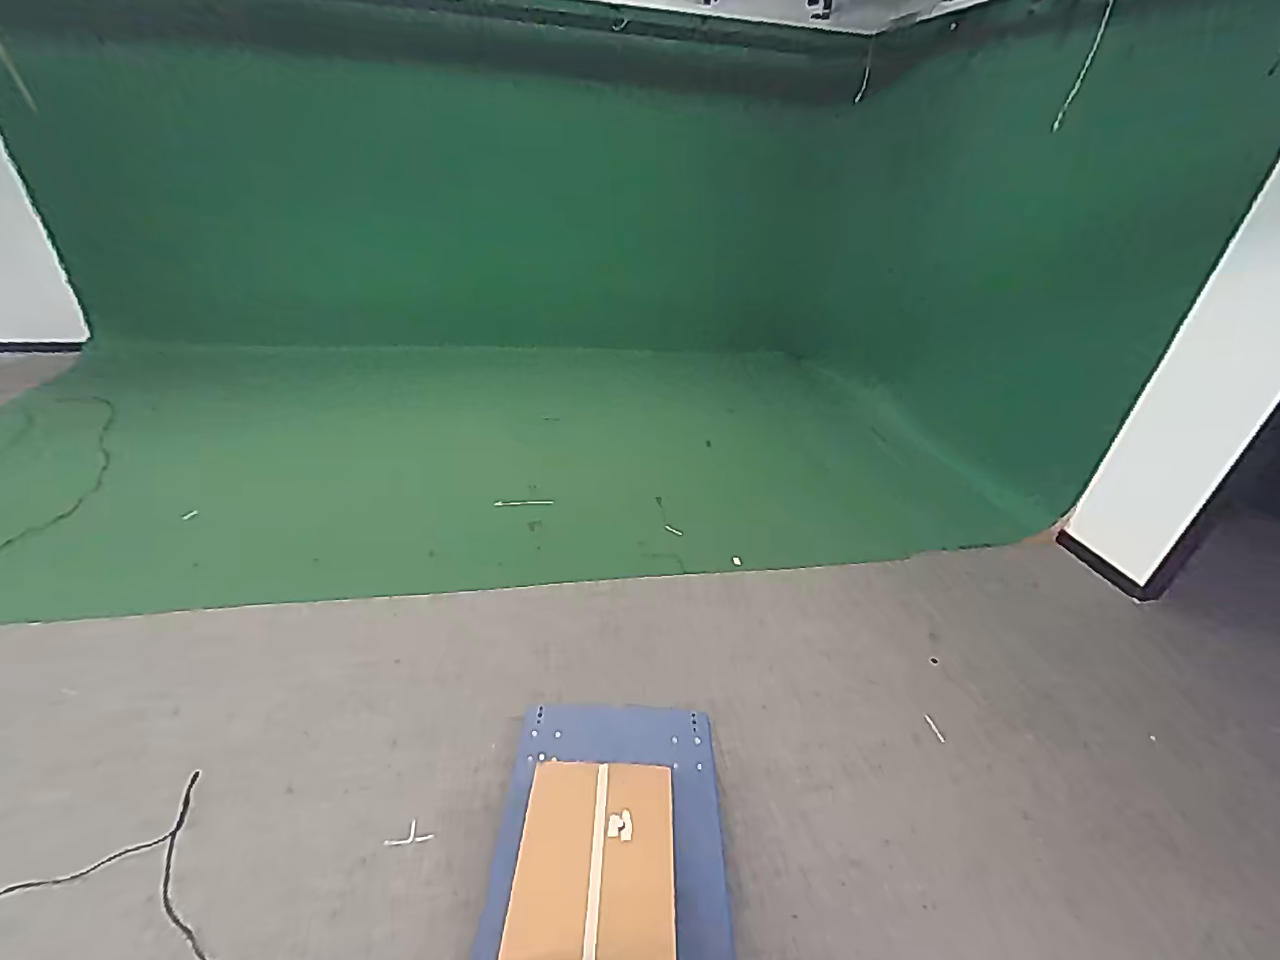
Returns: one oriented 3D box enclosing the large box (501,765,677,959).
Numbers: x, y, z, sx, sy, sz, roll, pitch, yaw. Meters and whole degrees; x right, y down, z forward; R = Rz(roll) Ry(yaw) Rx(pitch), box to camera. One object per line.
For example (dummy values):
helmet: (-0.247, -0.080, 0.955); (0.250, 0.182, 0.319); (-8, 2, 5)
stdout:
large box: (-0.095, 0.897, 1.157); (0.320, 0.320, 0.408); (4, 30, -1)
